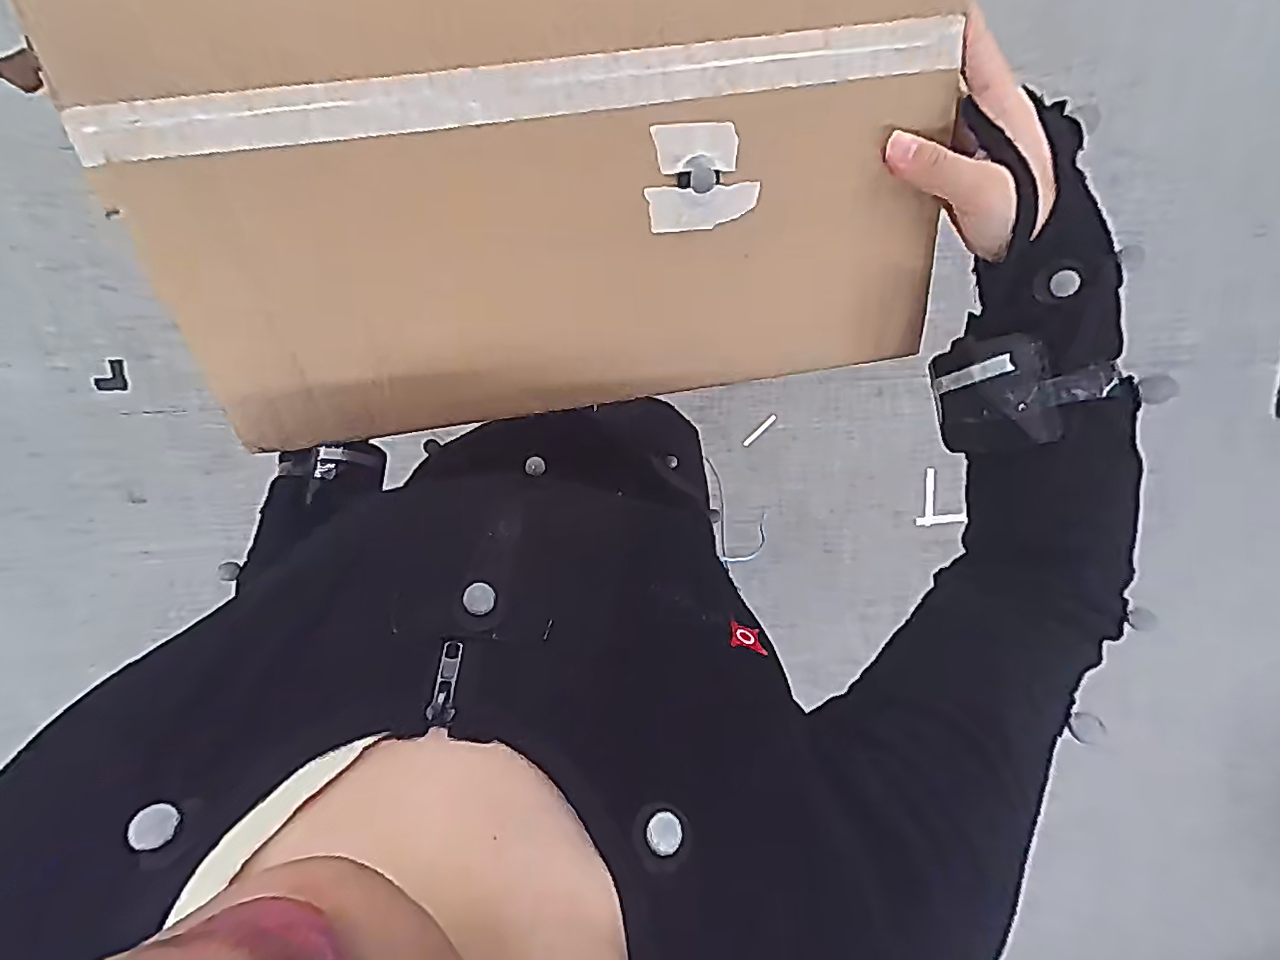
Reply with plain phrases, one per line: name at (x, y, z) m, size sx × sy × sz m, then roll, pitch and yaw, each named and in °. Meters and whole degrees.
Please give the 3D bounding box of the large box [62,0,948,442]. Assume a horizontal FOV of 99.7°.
large box at (-0.065, -0.257, 0.392) m, size 0.408 × 0.320 × 0.320 m, roll -10°, pitch 119°, yaw -5°
